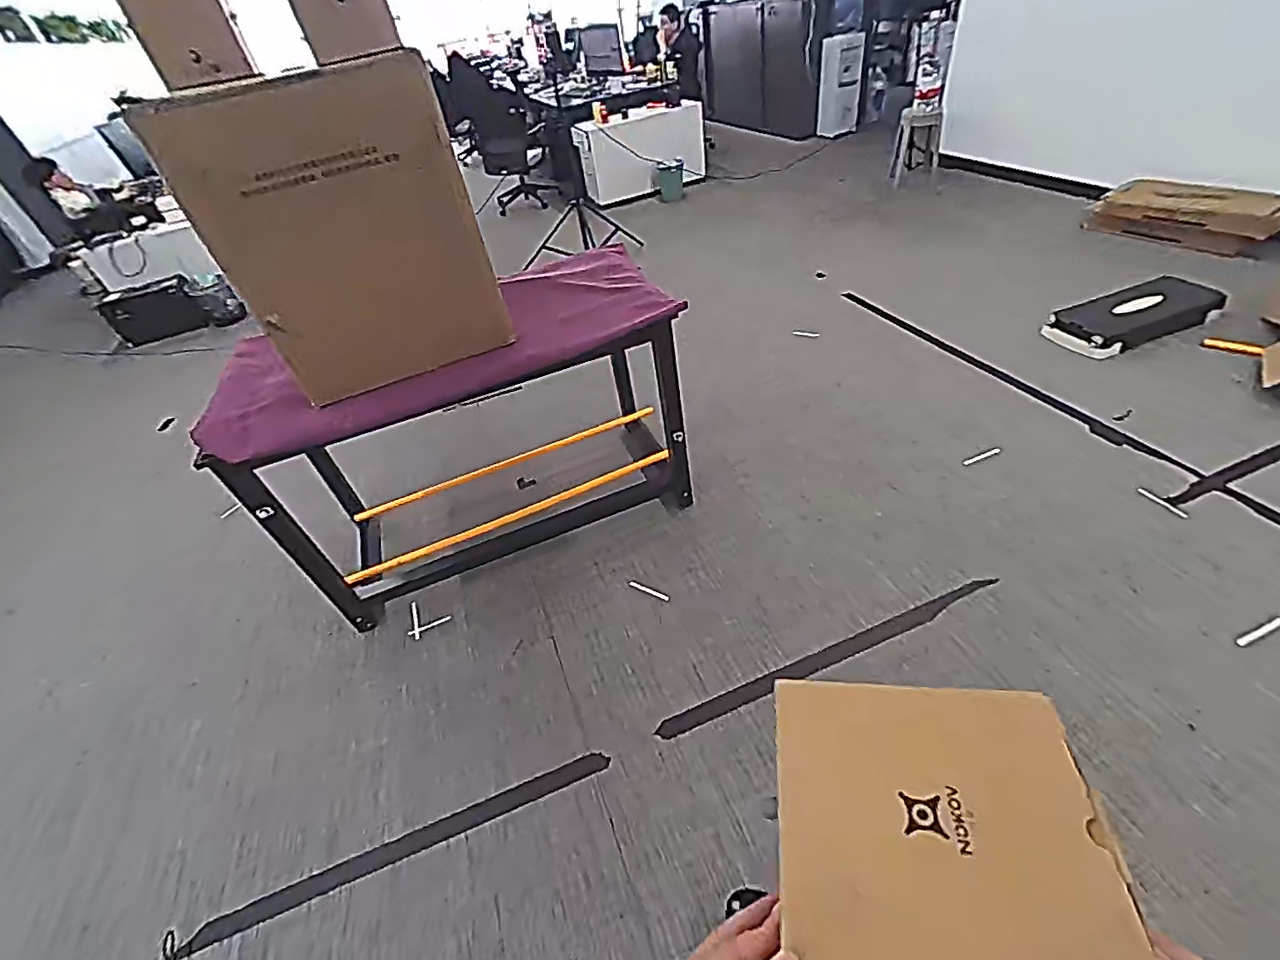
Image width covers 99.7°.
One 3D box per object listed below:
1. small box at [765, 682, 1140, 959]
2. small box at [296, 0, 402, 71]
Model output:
[{"bbox_3d":[0.181,0.260,0.369,0.179,0.176,0.168,-3,39,15],"label":"small box"},{"bbox_3d":[-0.632,-1.002,1.167,0.168,0.176,0.179,-21,43,-10],"label":"small box"}]
